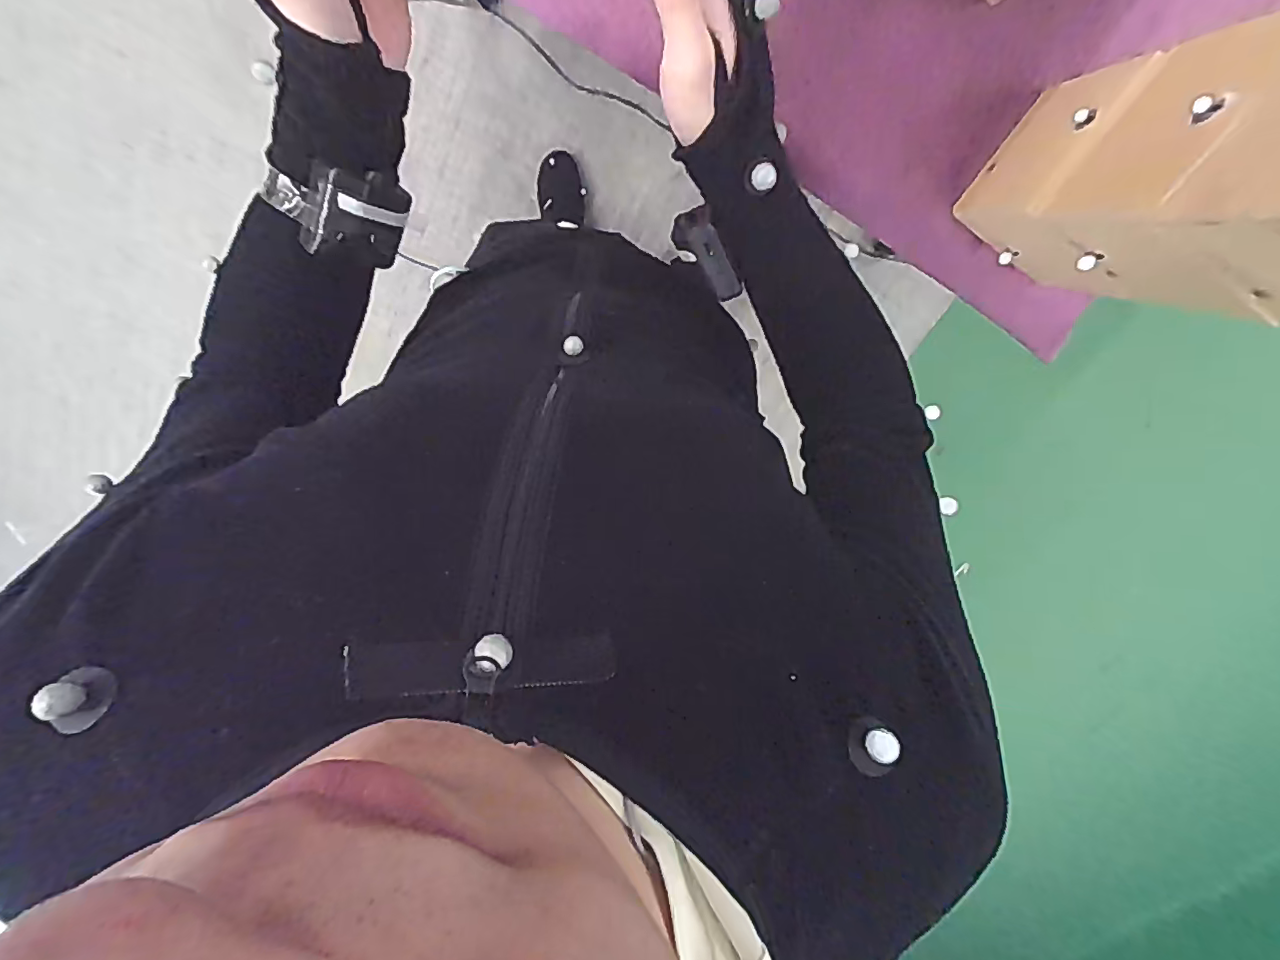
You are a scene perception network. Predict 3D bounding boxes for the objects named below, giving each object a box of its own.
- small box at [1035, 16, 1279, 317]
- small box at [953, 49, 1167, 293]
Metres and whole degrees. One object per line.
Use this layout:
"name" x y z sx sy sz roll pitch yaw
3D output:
"small box" 0.524 -0.280 0.492 0.168 0.176 0.179 30 114 -12
"small box" 0.525 -0.351 0.639 0.179 0.176 0.168 30 113 -13
